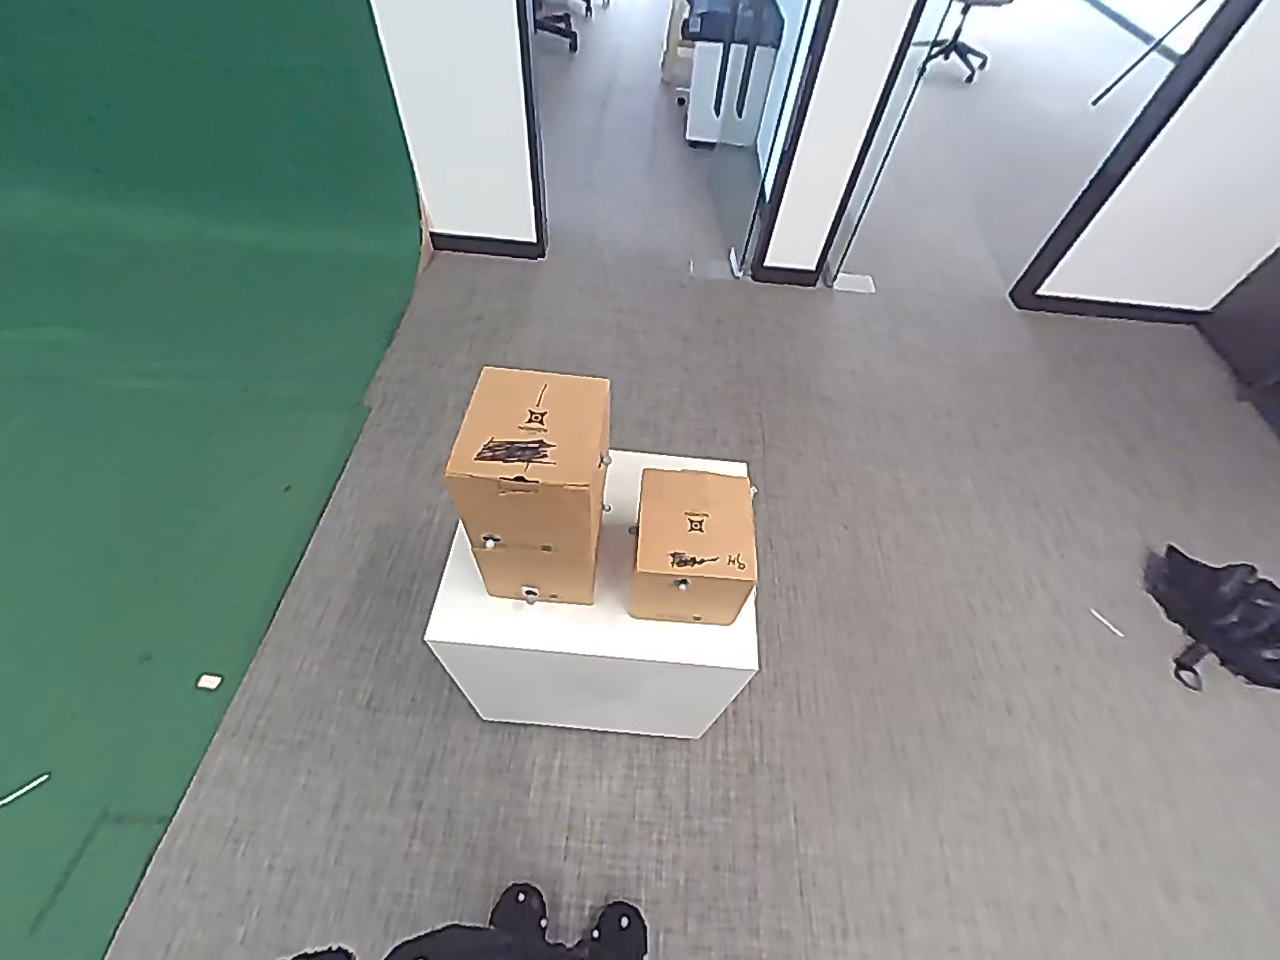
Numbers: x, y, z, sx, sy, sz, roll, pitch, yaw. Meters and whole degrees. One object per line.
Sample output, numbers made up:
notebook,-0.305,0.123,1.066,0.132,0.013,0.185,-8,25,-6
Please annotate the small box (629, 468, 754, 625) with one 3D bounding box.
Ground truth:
small box,0.073,0.106,0.843,0.168,0.176,0.179,5,53,-1

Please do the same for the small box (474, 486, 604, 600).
small box,-0.144,0.068,0.836,0.168,0.176,0.179,3,55,-2

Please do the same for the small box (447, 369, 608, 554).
small box,-0.133,-0.019,0.716,0.168,0.176,0.179,6,52,0
